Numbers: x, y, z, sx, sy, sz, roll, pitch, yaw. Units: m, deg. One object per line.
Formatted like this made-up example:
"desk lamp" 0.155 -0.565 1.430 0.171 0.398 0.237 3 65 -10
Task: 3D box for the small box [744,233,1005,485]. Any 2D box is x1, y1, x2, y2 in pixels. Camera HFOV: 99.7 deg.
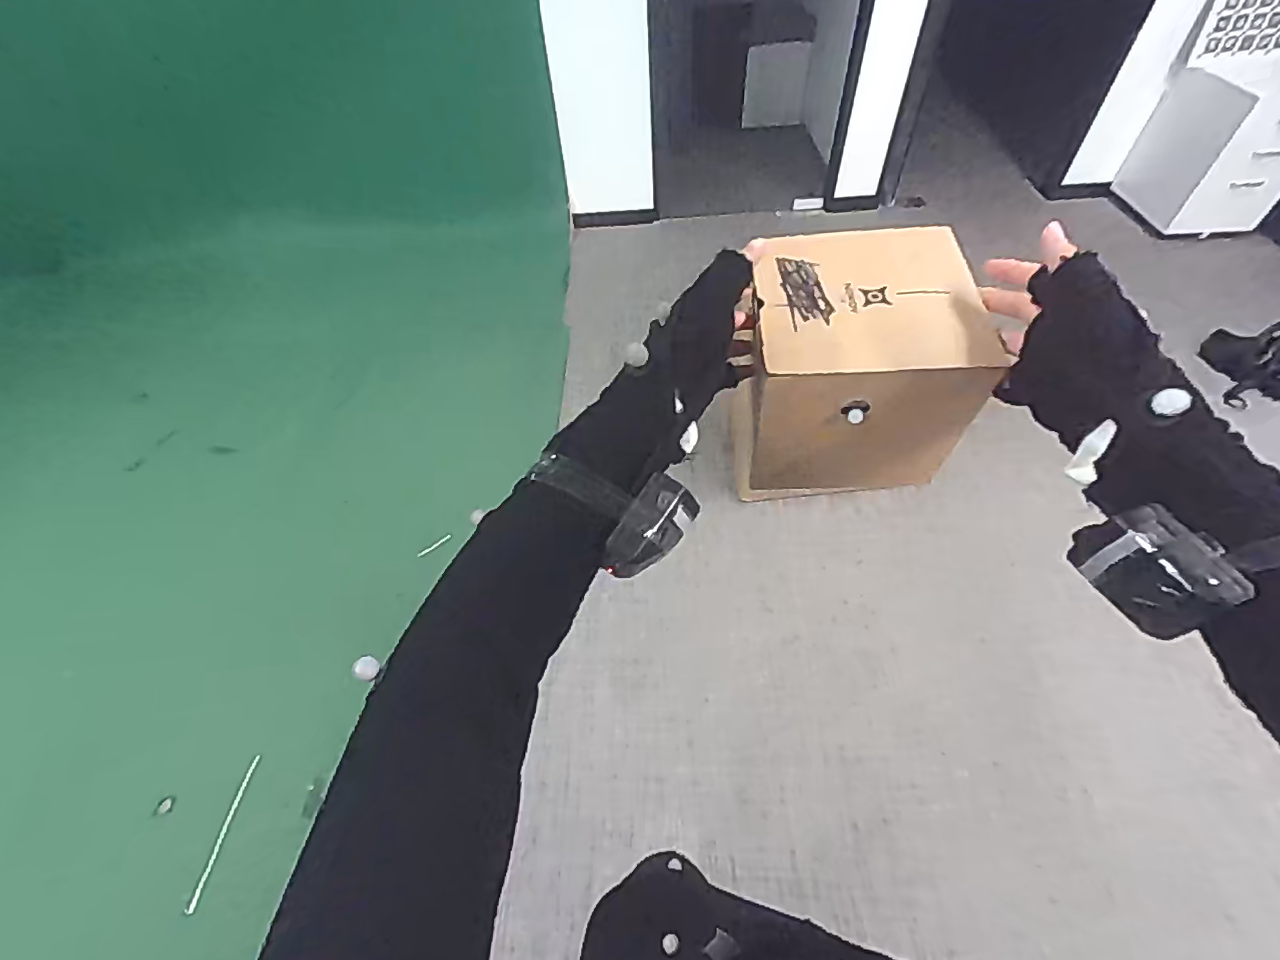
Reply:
"small box" 0.192 -0.105 0.511 0.179 0.176 0.168 -1 58 5
